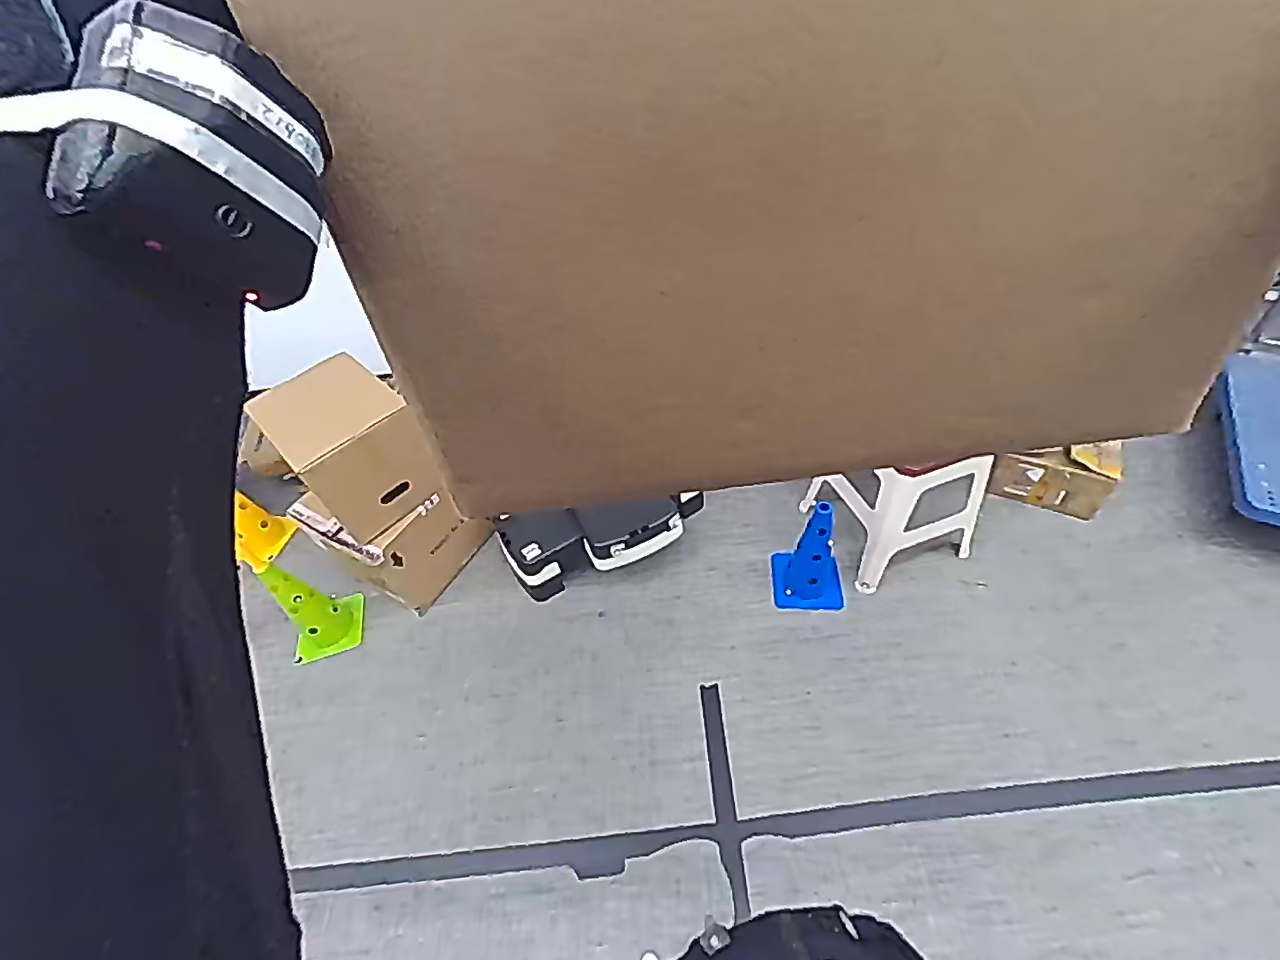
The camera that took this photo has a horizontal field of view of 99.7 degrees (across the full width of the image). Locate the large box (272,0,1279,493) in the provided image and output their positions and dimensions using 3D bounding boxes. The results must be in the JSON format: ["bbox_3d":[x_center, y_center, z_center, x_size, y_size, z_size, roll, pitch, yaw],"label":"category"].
[{"bbox_3d":[0.068,-0.220,0.331,0.408,0.320,0.320,-7,39,1],"label":"large box"}]
